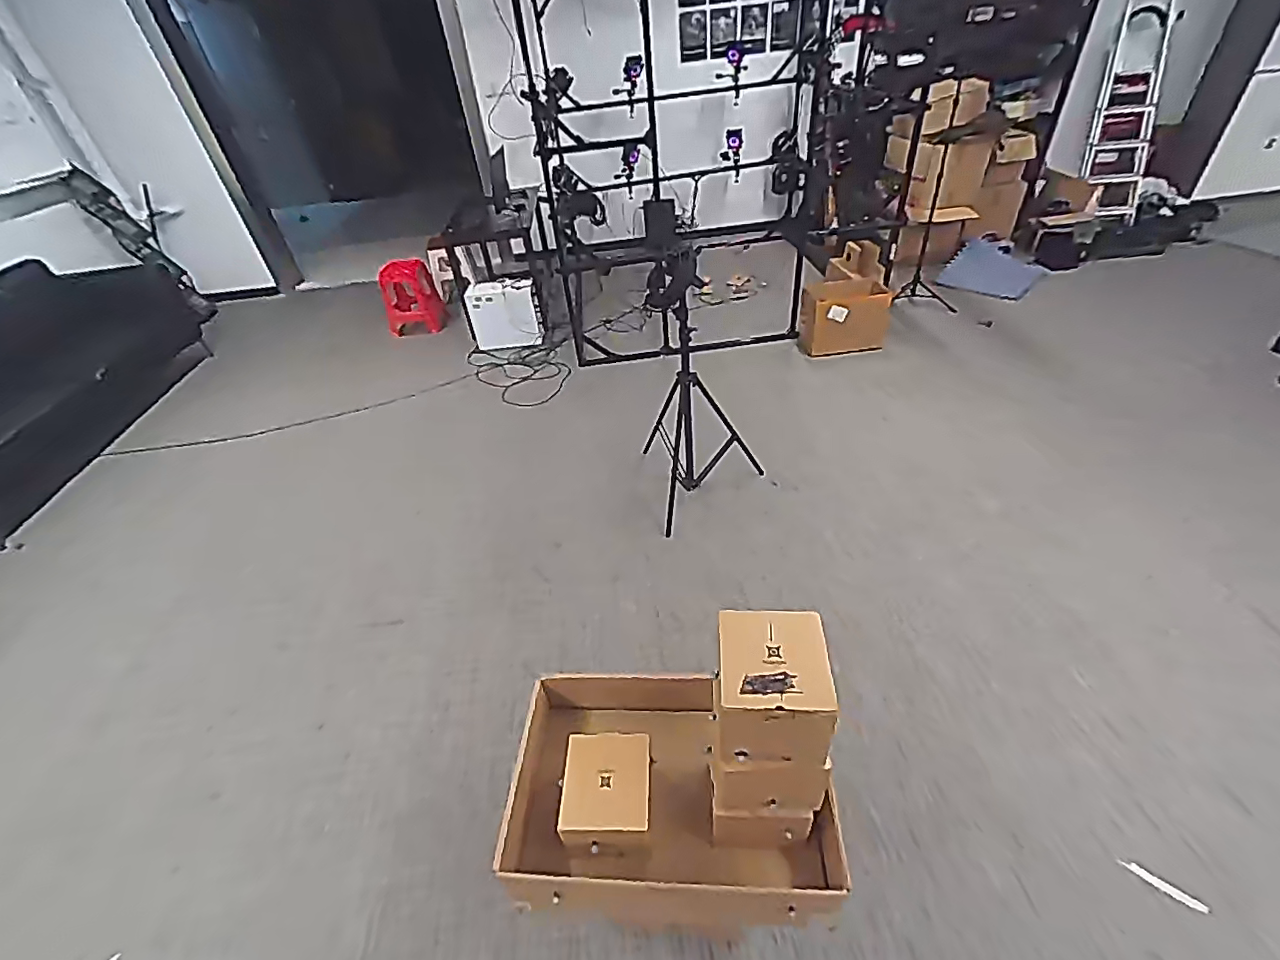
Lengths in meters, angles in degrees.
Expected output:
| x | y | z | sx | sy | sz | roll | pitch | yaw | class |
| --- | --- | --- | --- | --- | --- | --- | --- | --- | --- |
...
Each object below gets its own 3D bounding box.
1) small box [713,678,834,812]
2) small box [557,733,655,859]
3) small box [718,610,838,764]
| x | y | z | sx | sy | sz | roll | pitch | yaw | class |
| --- | --- | --- | --- | --- | --- | --- | --- | --- | --- |
| 0.224 | 0.469 | 0.960 | 0.179 | 0.176 | 0.168 | -2 | 39 | 4 | small box |
| -0.057 | 0.626 | 1.070 | 0.168 | 0.176 | 0.179 | -3 | 38 | 5 | small box |
| 0.210 | 0.331 | 0.868 | 0.168 | 0.176 | 0.179 | 0 | 39 | 7 | small box |
